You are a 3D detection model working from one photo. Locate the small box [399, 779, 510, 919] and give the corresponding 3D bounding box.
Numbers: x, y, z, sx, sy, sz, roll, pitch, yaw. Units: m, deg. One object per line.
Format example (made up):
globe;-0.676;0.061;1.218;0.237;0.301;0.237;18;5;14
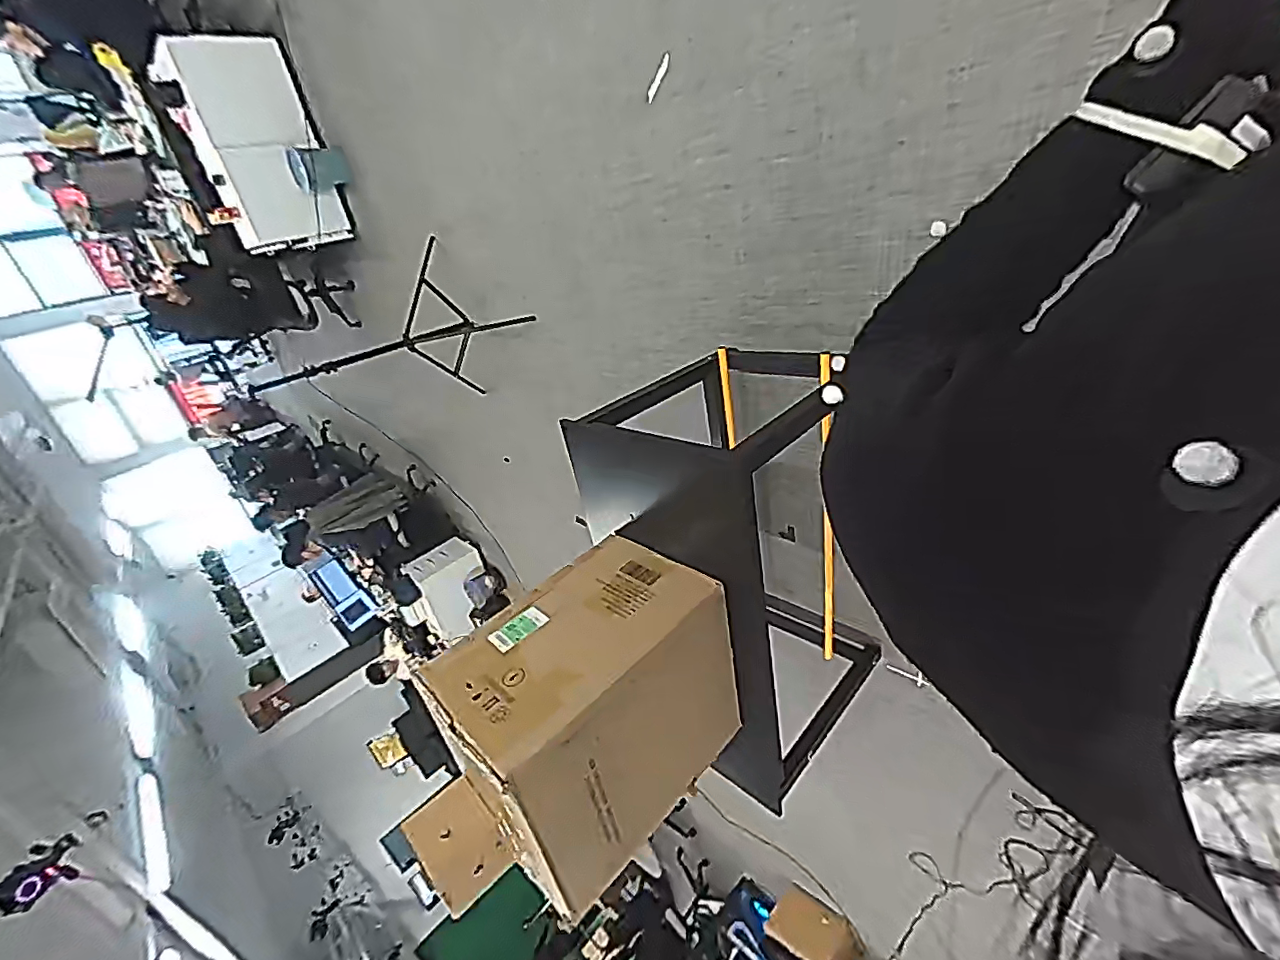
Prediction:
small box;-0.422;0.848;1.260;0.179;0.176;0.168;20;130;43
